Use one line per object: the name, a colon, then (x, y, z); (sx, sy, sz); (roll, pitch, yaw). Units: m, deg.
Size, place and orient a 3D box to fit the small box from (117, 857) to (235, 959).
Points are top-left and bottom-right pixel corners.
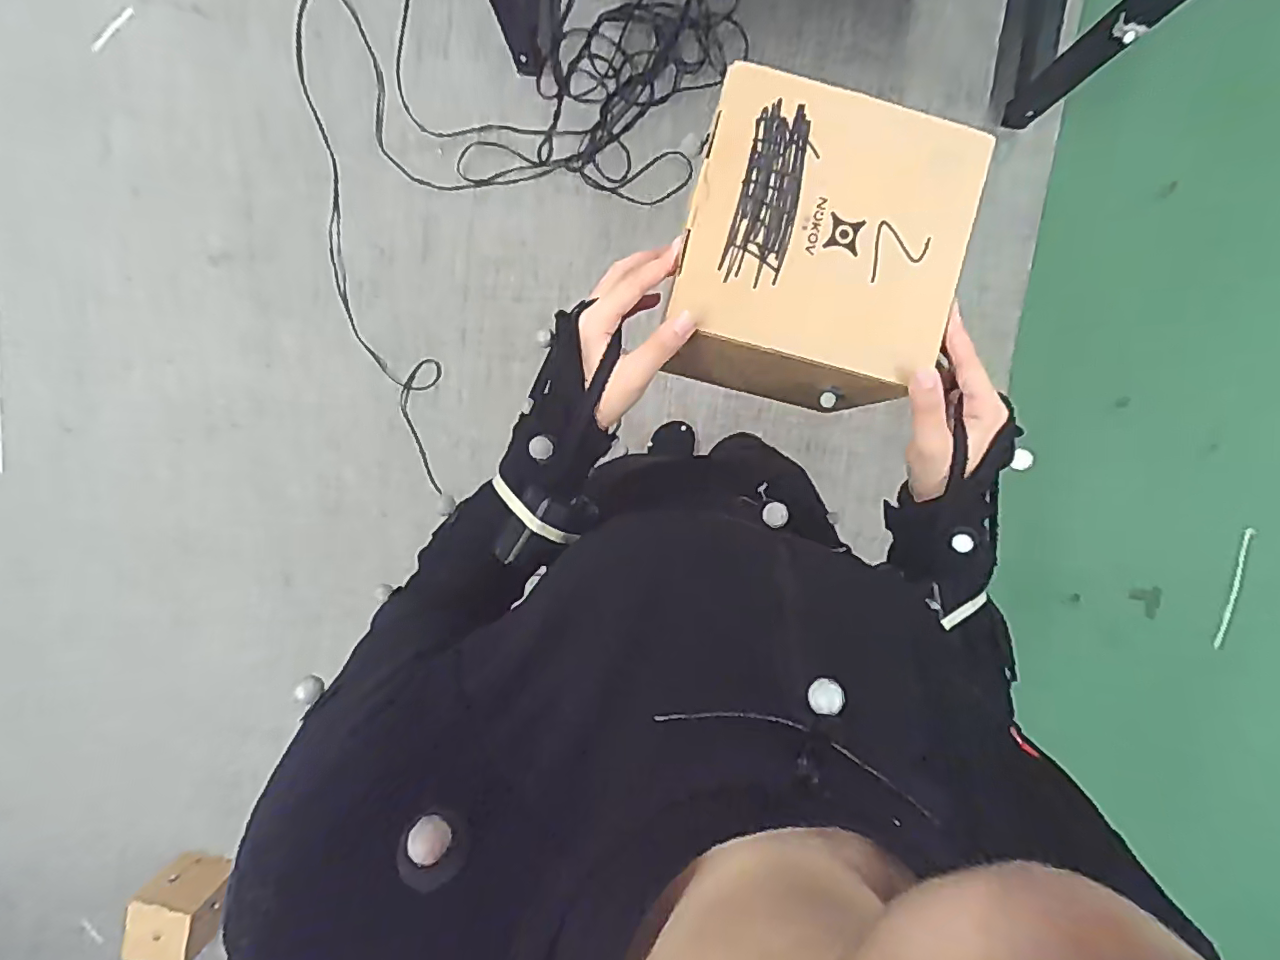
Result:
small box: (-1.227, 1.157, 1.442); (0.168, 0.176, 0.179); (13, 97, 1)
